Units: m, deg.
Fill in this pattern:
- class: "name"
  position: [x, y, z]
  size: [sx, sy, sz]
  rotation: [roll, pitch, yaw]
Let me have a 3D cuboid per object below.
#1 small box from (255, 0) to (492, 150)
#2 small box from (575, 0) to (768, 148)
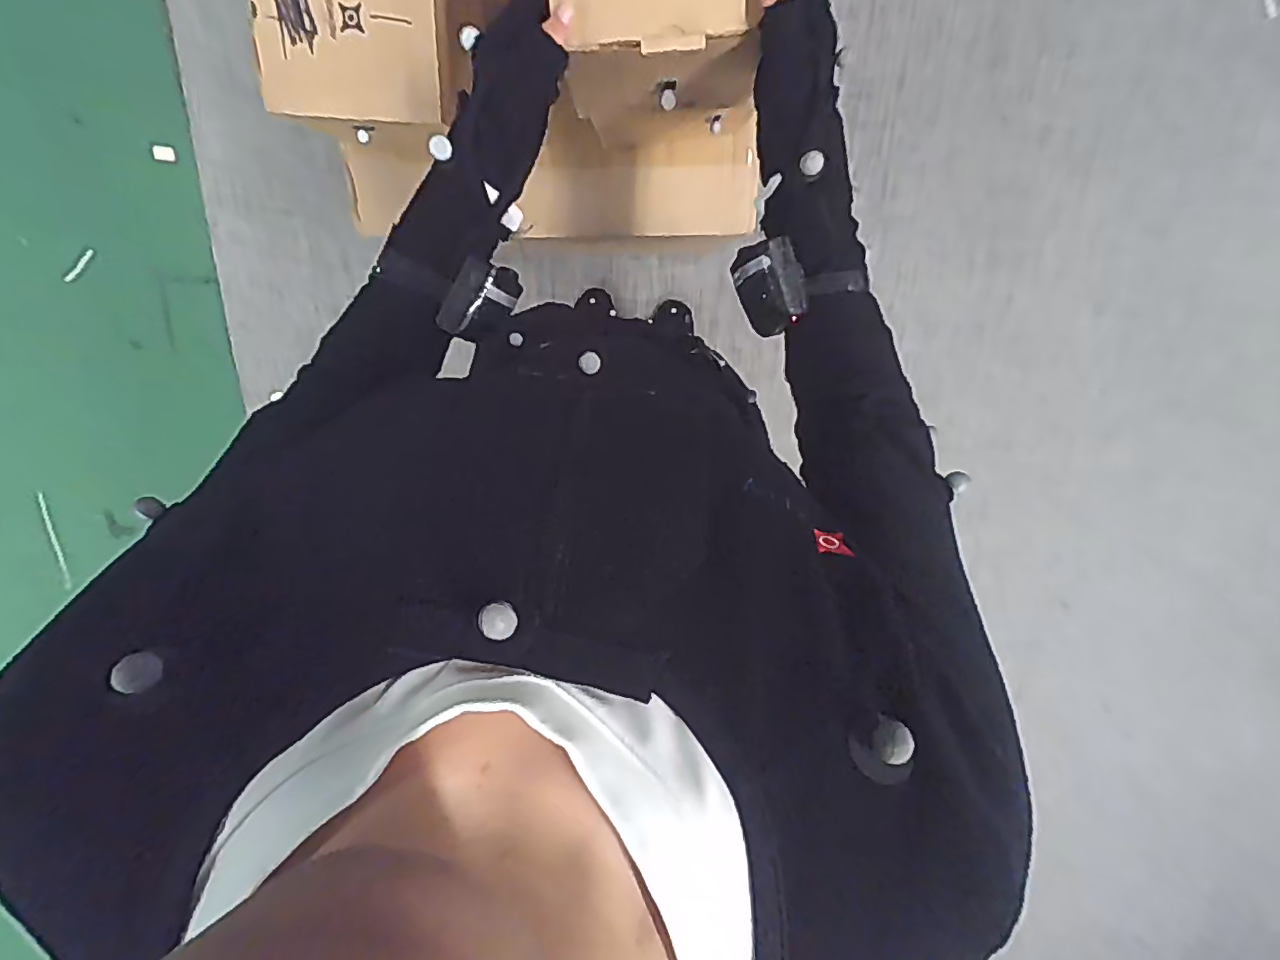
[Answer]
- class: "small box"
  position: [-0.271, -0.464, 0.578]
  size: [0.179, 0.176, 0.168]
  rotation: [4, 113, 0]
- class: "small box"
  position: [0.030, -0.469, 0.568]
  size: [0.179, 0.176, 0.168]
  rotation: [-6, 110, 5]
